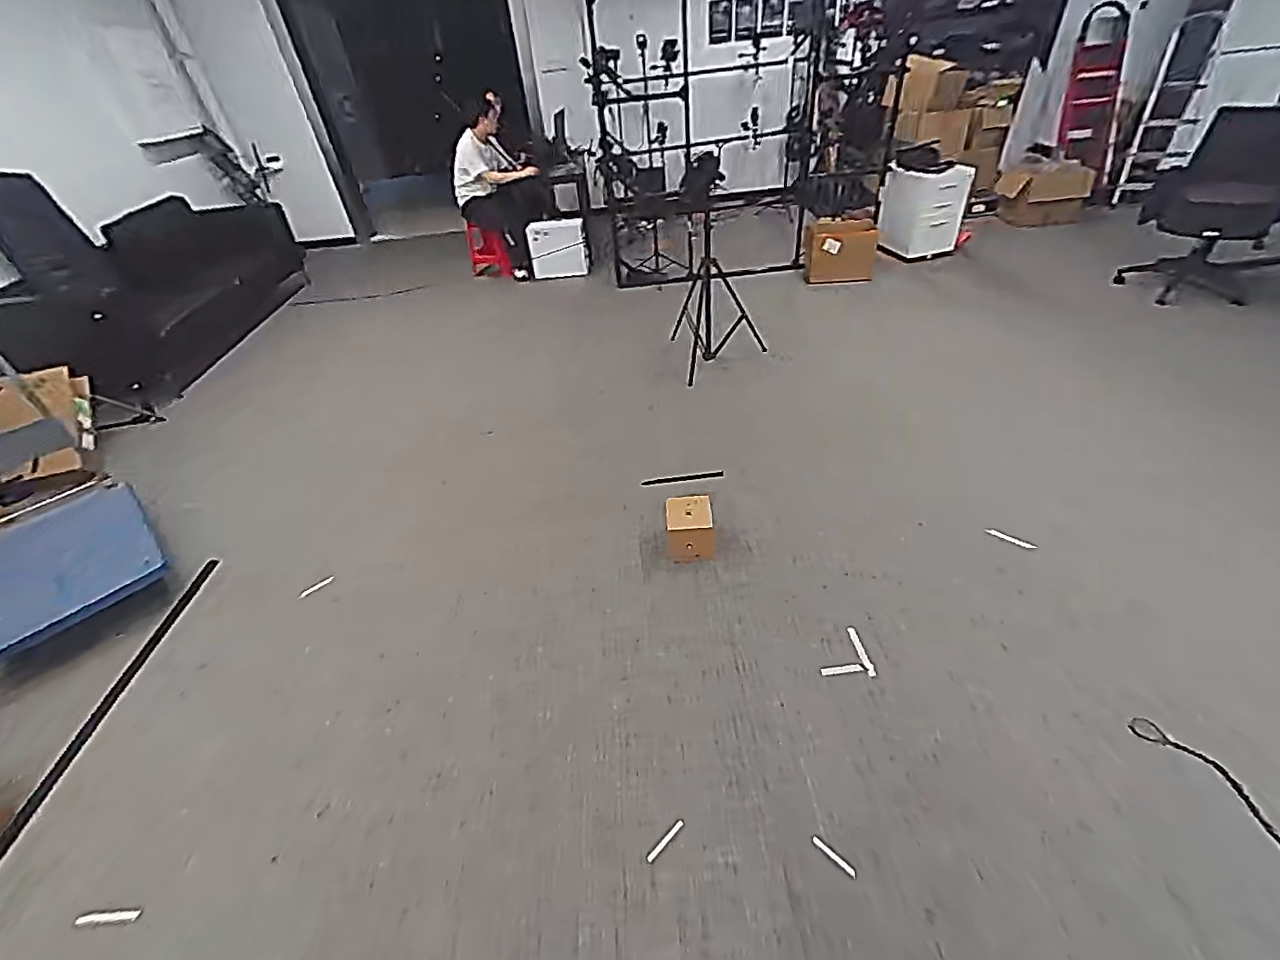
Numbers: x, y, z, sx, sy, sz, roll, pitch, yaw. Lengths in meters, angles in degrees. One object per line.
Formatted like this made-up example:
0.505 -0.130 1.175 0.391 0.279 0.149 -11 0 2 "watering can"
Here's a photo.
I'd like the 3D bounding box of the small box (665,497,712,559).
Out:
0.182 0.187 2.039 0.168 0.176 0.179 -4 39 3 "small box"
